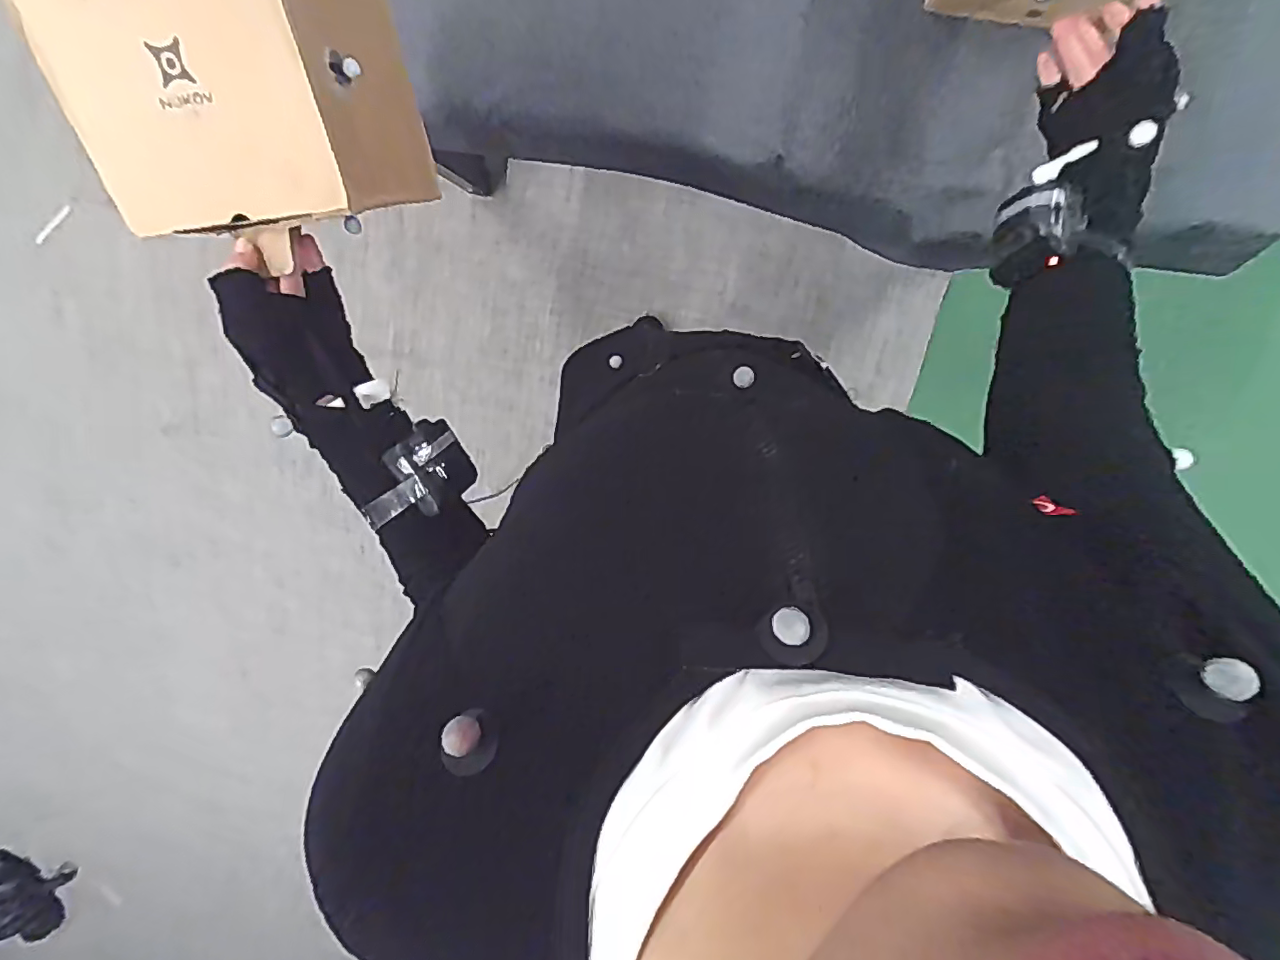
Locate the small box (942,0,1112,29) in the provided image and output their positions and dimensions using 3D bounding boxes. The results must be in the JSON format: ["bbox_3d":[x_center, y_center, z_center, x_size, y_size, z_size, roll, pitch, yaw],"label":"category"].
[{"bbox_3d":[0.381,-0.532,0.462,0.168,0.176,0.179,8,108,0],"label":"small box"}]

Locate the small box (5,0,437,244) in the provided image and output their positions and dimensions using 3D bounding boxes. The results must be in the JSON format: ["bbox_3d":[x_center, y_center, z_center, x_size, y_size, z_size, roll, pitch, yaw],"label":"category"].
[{"bbox_3d":[-0.273,-0.285,0.394,0.168,0.176,0.179,-5,119,6],"label":"small box"}]
